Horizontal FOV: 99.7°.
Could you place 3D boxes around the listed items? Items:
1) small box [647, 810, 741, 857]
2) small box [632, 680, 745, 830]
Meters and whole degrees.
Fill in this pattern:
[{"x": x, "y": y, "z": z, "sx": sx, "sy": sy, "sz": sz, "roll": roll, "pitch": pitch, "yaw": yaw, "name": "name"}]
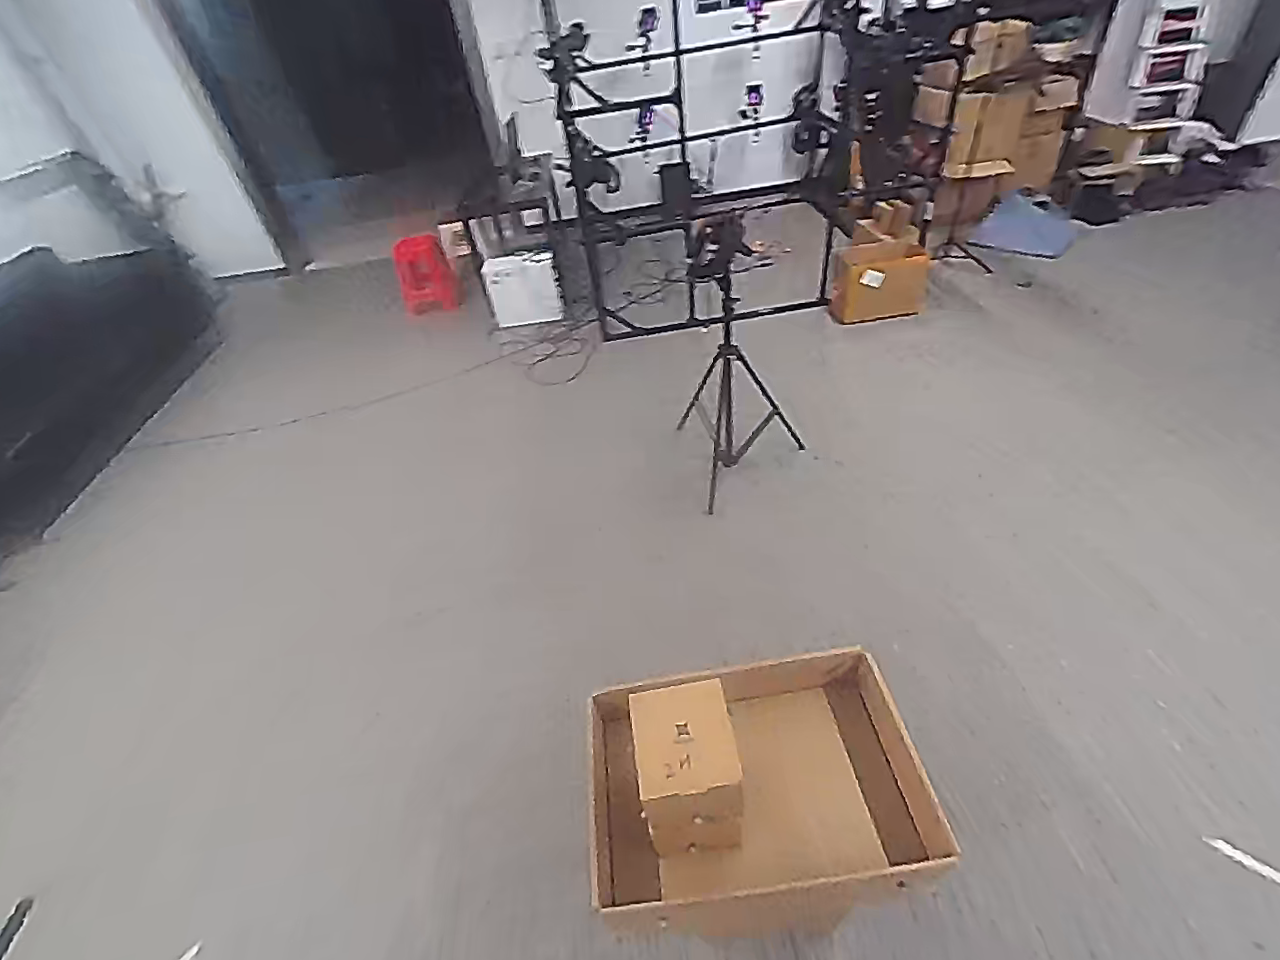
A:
[{"x": 0.097, "y": 0.607, "z": 1.060, "sx": 0.168, "sy": 0.176, "sz": 0.179, "roll": -9, "pitch": 43, "yaw": 0, "name": "small box"}, {"x": 0.082, "y": 0.484, "z": 0.952, "sx": 0.168, "sy": 0.176, "sz": 0.179, "roll": -10, "pitch": 43, "yaw": 0, "name": "small box"}]
